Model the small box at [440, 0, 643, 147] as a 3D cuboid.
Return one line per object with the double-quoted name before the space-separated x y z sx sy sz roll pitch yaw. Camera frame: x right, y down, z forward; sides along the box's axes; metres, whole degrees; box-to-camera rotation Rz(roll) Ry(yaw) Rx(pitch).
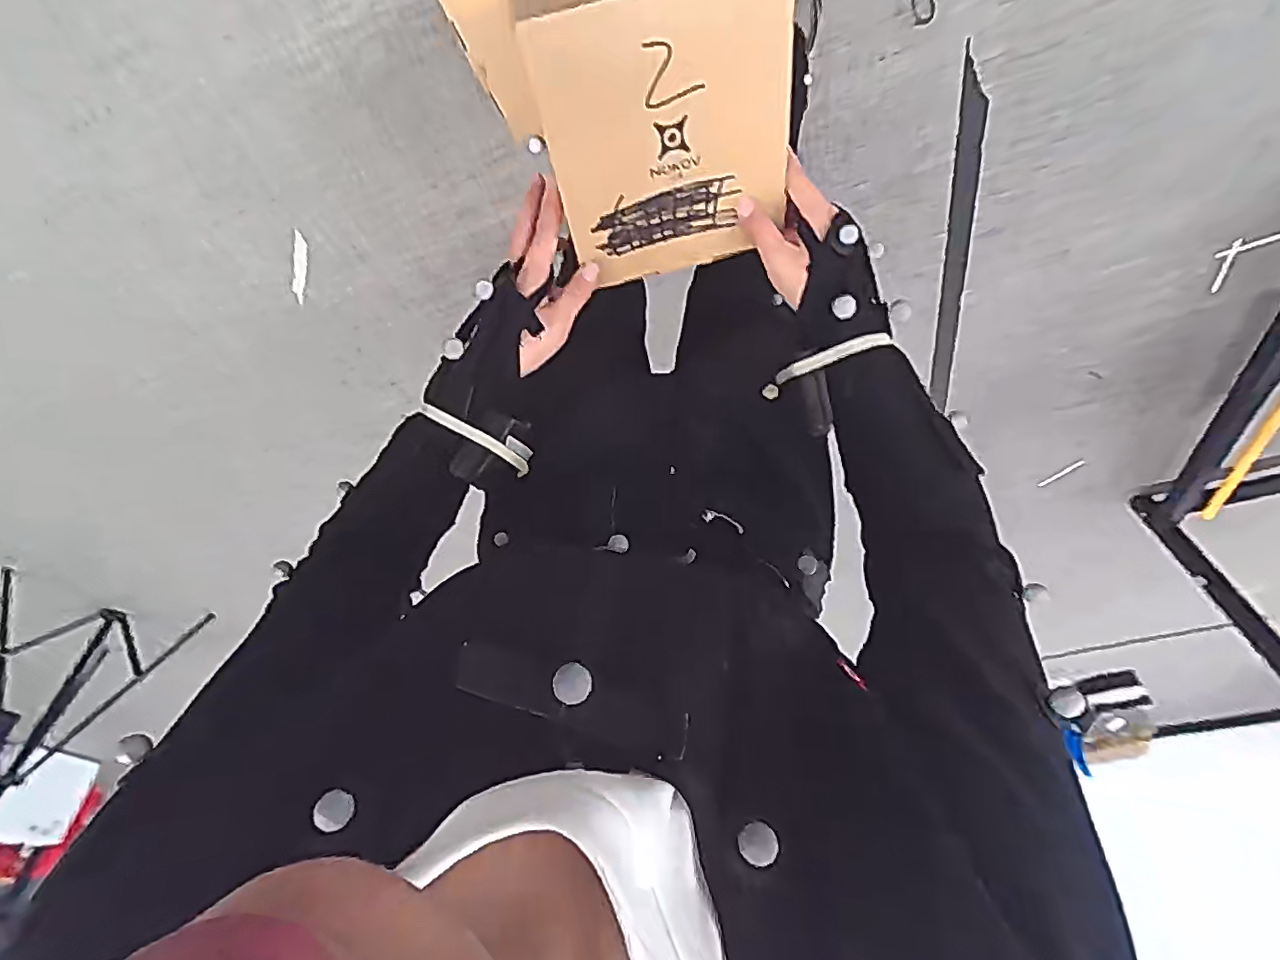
"small box" -0.110 -0.555 0.659 0.179 0.176 0.168 -18 137 17
